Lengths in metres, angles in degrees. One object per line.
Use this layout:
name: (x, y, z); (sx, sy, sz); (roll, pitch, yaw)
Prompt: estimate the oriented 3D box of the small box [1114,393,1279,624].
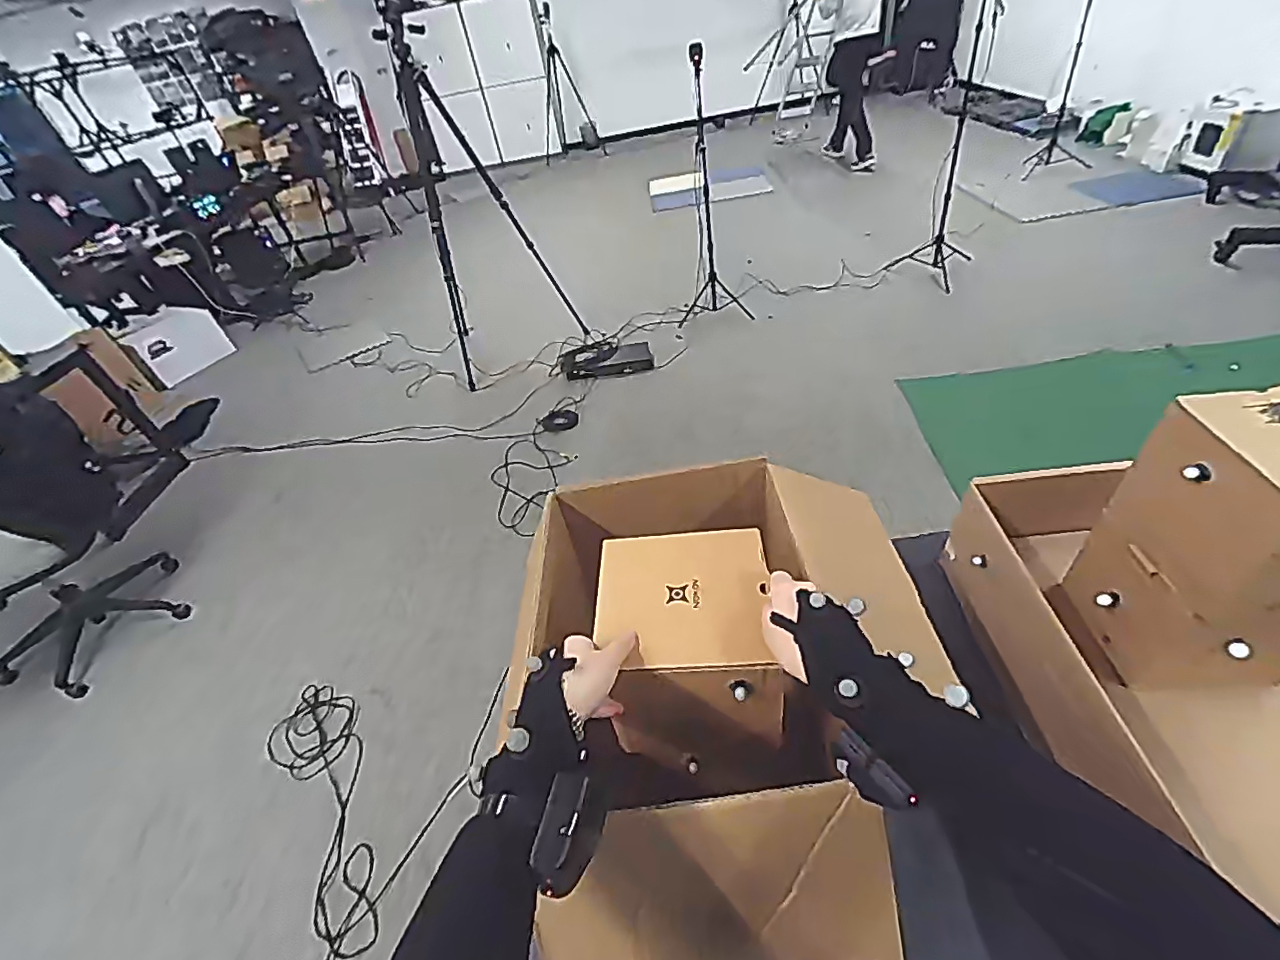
small box: (0.660, 0.027, 0.565); (0.168, 0.176, 0.179); (-6, 42, 8)
